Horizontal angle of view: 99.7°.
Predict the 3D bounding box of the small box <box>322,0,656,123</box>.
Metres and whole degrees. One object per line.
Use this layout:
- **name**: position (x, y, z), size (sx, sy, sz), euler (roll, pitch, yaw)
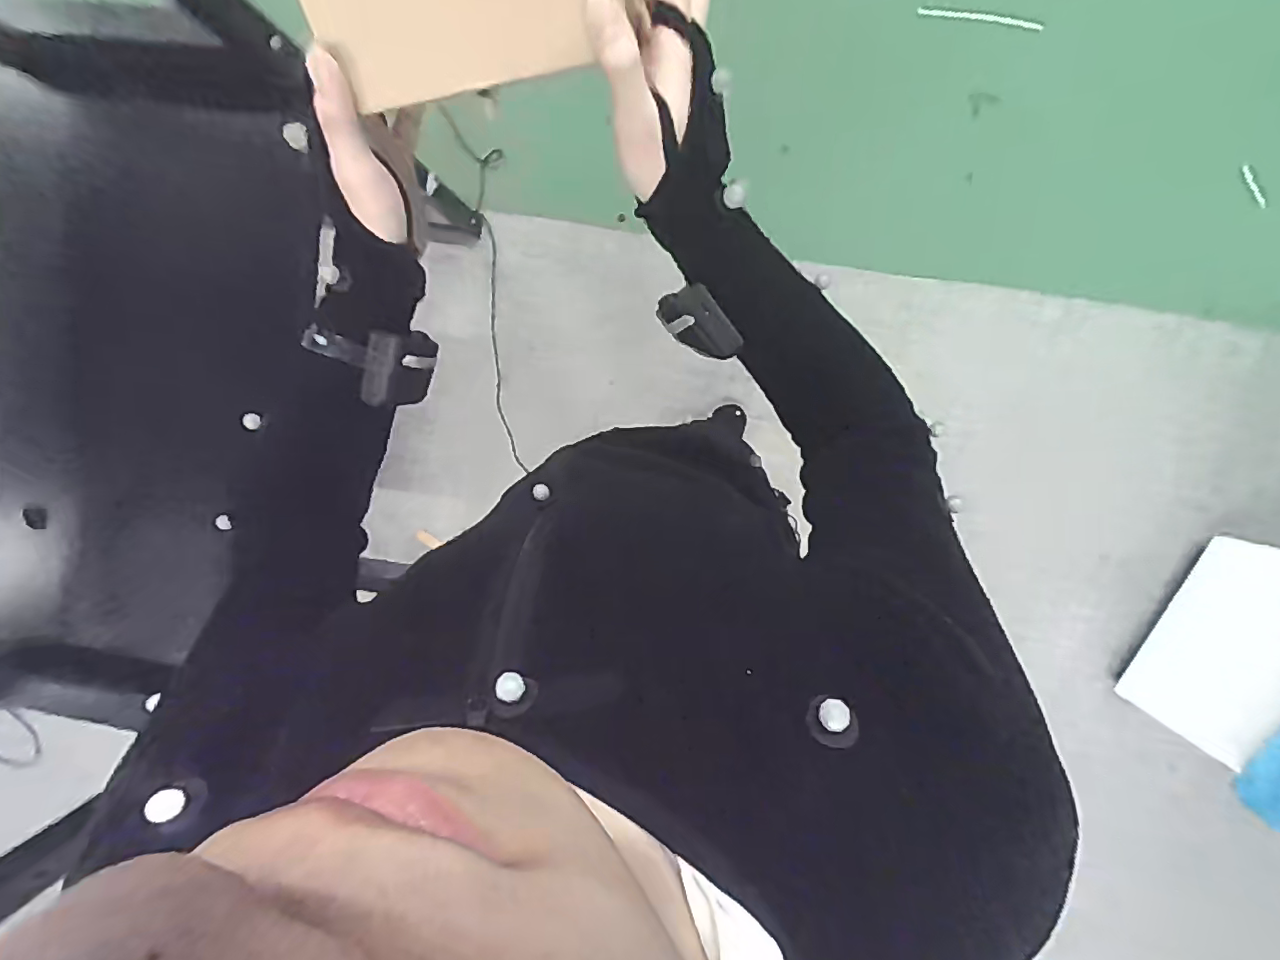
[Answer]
- **small box**: position (-0.090, -0.338, 0.341), size (0.179, 0.176, 0.168), euler (-5, 126, 9)
